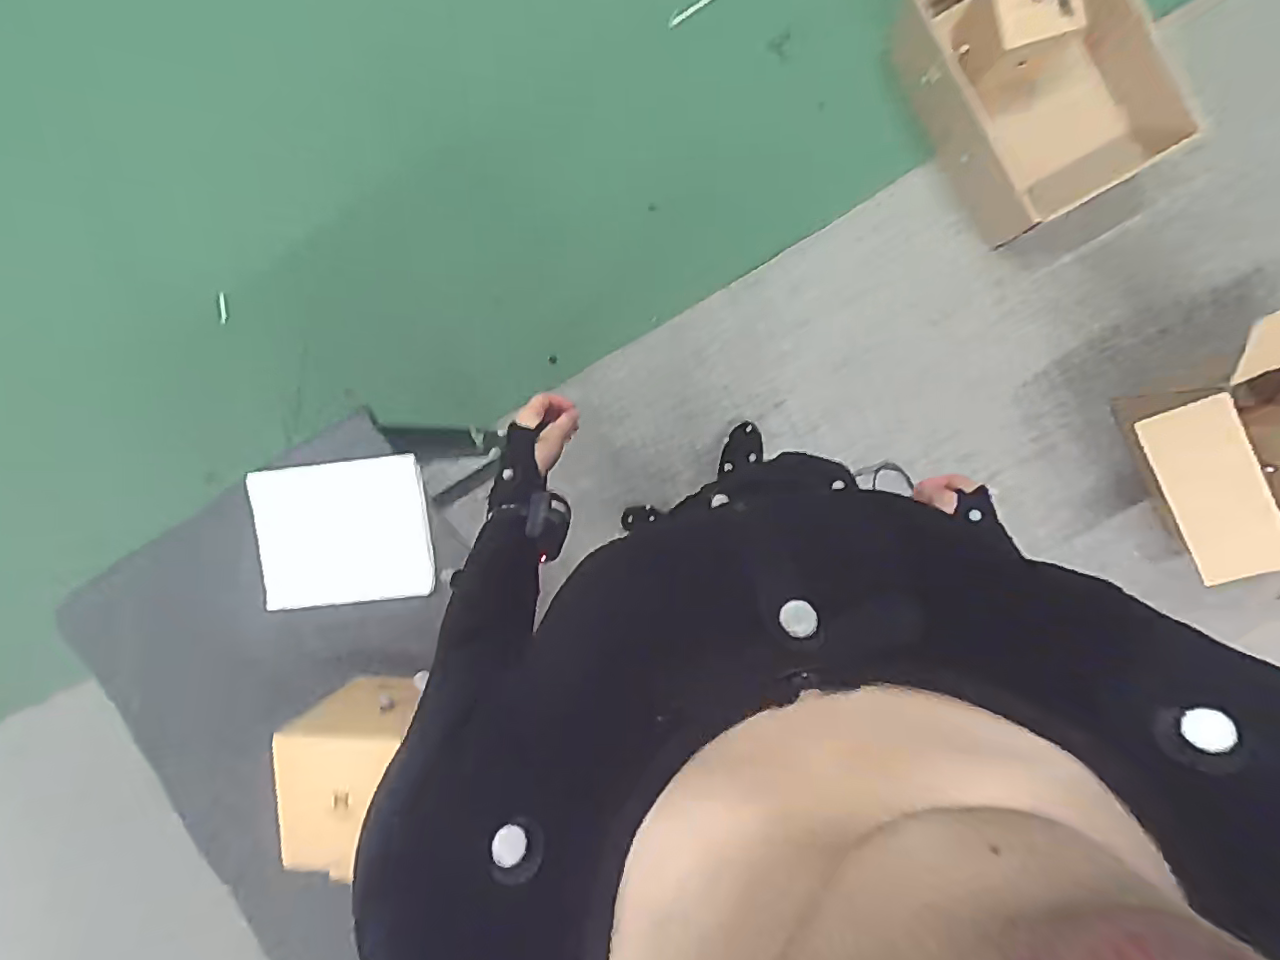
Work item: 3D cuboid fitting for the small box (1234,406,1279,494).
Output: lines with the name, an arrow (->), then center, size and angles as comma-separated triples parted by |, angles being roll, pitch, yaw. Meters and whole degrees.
small box -> 1.412, -0.068, 1.129 | 0.179, 0.176, 0.168 | -20, 96, 5

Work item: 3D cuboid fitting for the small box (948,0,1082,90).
small box -> 0.845, -1.042, 1.232 | 0.179, 0.176, 0.168 | -14, 94, 4

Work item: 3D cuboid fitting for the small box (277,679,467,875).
small box -> -0.345, 0.384, 0.727 | 0.168, 0.176, 0.179 | -2, 95, 5
